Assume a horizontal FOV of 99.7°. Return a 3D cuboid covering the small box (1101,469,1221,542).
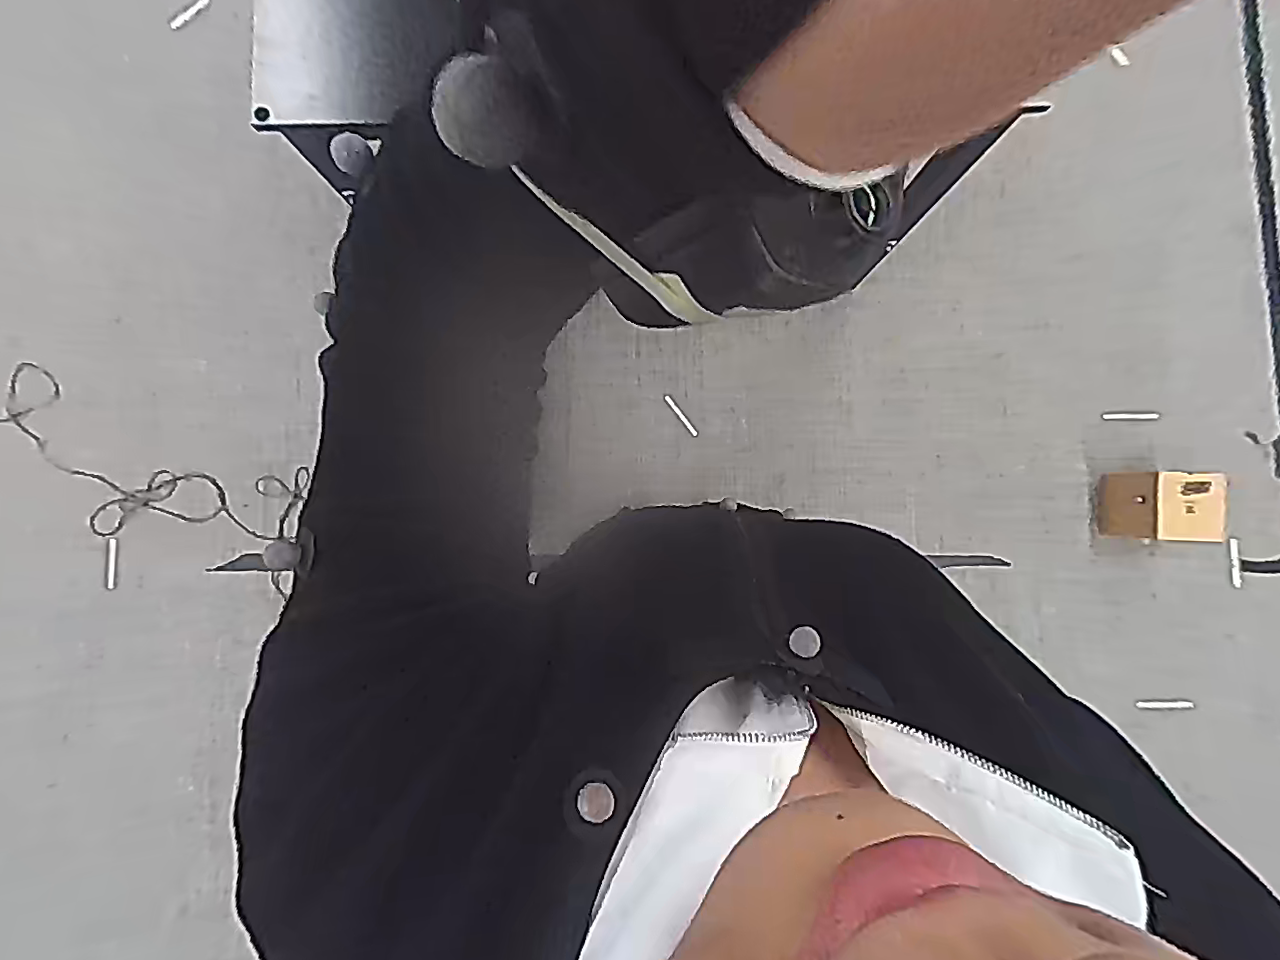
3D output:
[{"bbox_3d":[1.372,0.068,1.434,0.168,0.176,0.179,3,88,0],"label":"small box"}]
